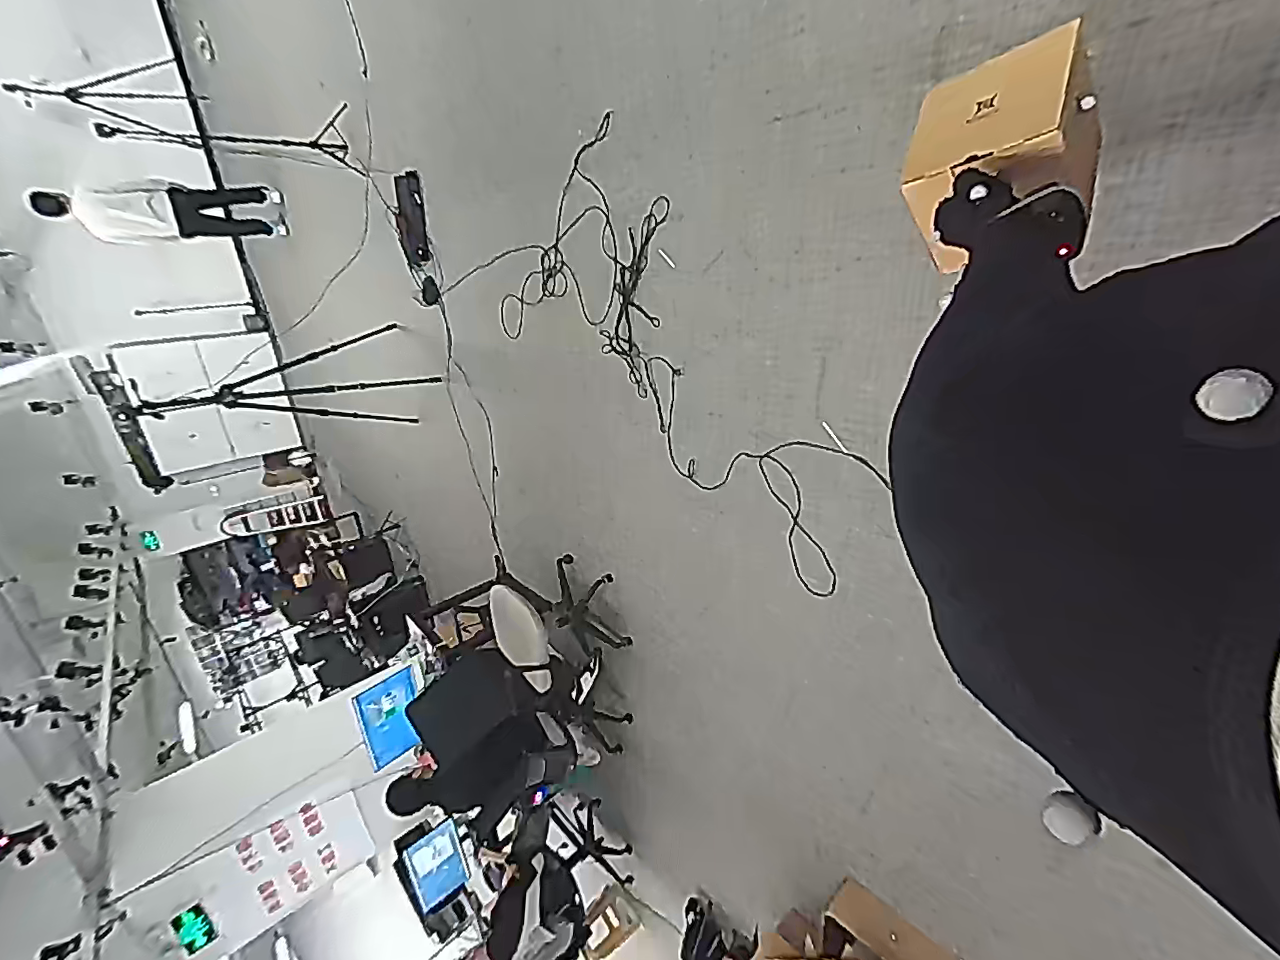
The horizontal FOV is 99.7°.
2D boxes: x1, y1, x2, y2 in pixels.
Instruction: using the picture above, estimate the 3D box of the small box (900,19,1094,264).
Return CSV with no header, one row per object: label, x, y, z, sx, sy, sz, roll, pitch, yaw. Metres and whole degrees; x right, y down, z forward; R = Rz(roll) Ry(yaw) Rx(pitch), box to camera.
small box,0.469,-0.420,0.704,0.168,0.176,0.179,1,65,49
